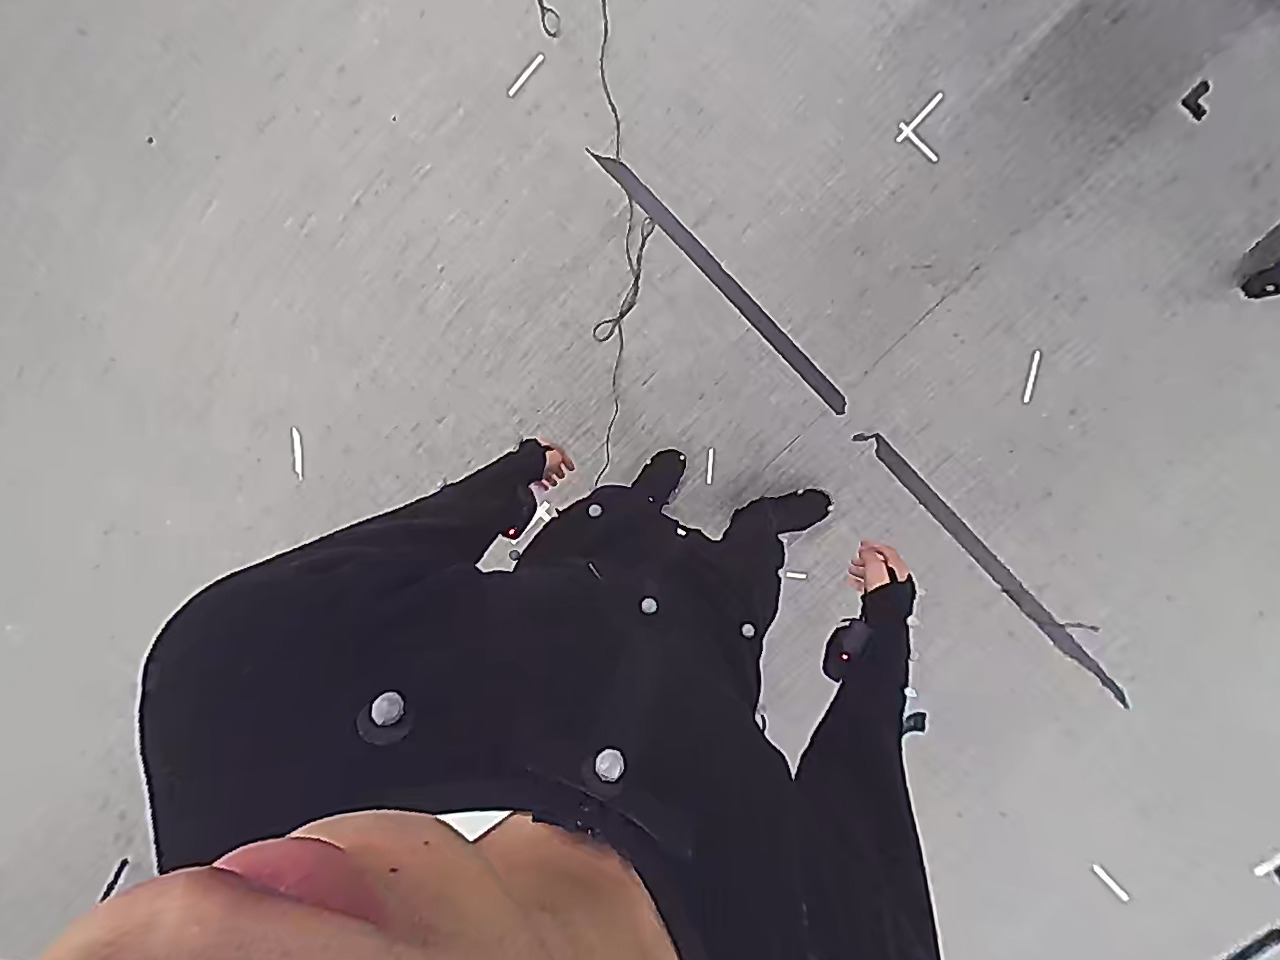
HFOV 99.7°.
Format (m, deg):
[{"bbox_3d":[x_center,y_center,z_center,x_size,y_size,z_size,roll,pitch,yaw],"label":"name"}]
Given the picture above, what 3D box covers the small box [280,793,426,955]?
[{"bbox_3d":[-0.586,0.812,1.129,0.168,0.176,0.179,42,99,-2],"label":"small box"}]
